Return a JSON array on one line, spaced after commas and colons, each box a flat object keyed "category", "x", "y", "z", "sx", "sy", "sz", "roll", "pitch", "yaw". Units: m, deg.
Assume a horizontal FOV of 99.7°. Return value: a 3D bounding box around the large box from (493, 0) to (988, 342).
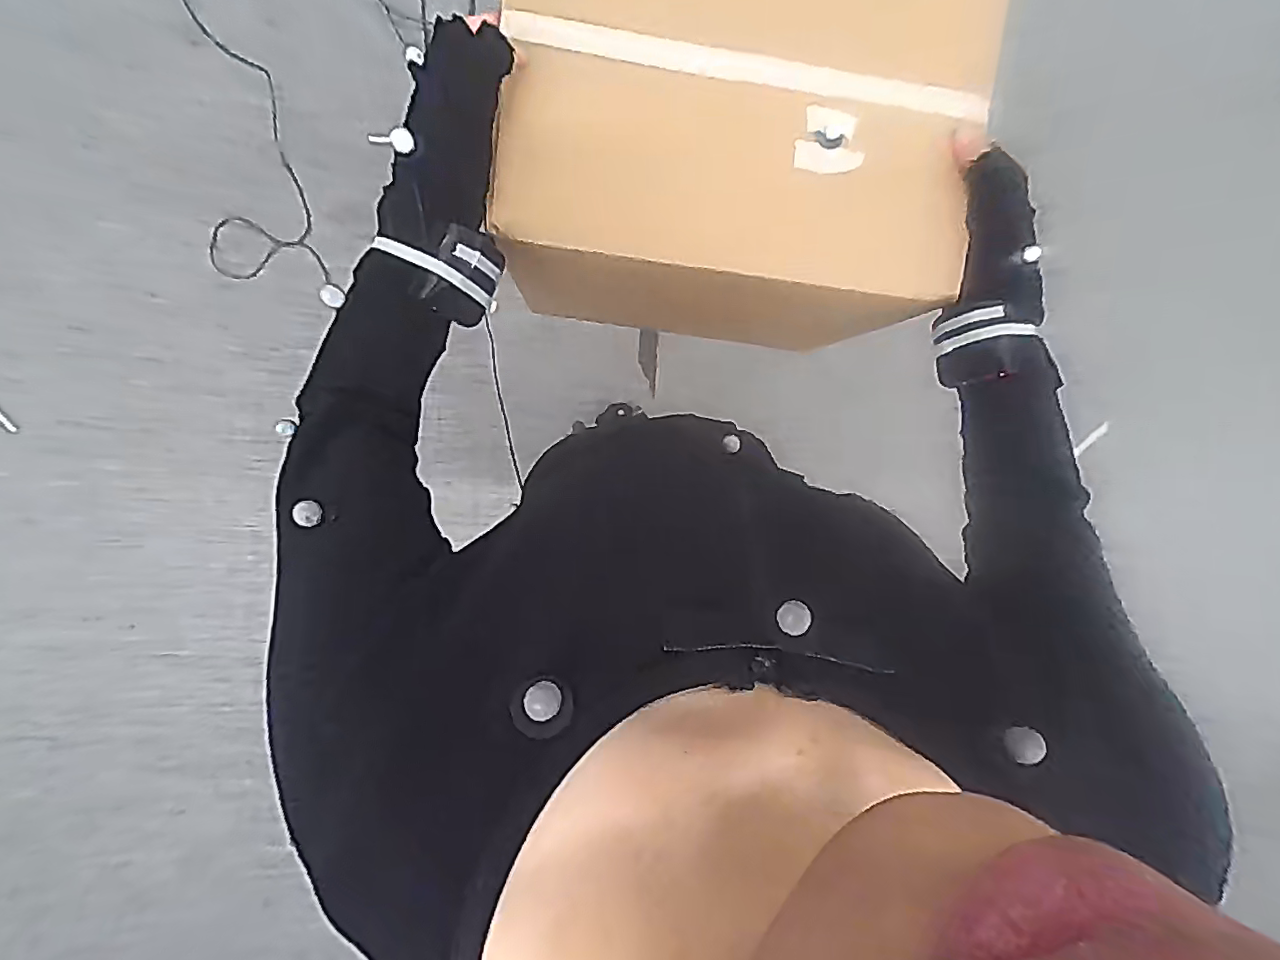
[{"category": "large box", "x": 0.074, "y": -0.351, "z": 0.594, "sx": 0.408, "sy": 0.320, "sz": 0.320, "roll": 6, "pitch": 95, "yaw": -6}]
